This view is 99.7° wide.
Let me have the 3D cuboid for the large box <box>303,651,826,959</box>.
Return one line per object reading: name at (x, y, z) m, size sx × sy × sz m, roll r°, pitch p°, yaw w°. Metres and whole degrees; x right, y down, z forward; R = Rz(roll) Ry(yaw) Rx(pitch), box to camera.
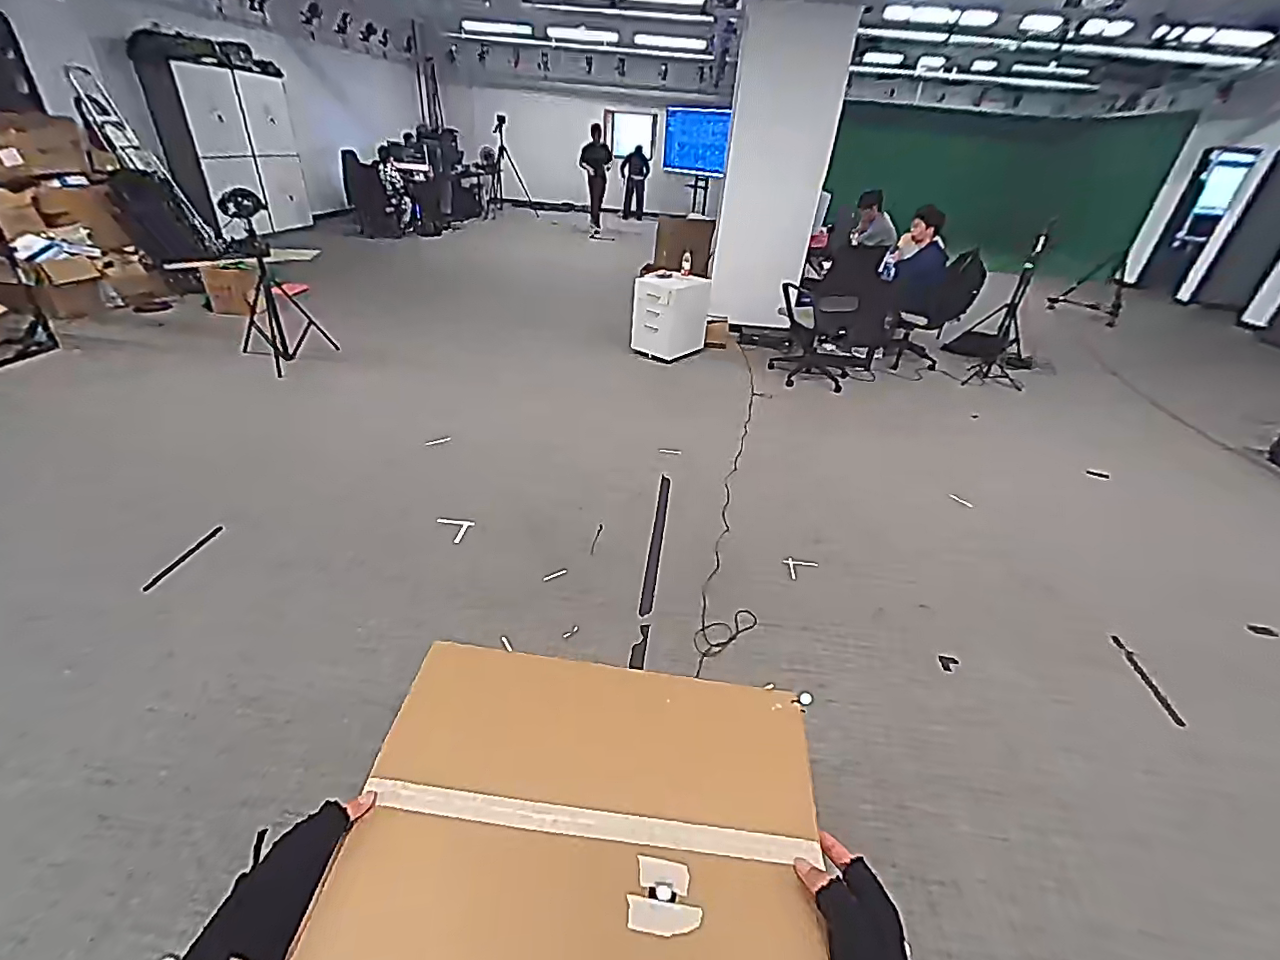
large box at (-0.058, 0.425, 0.576) m, size 0.408 × 0.320 × 0.320 m, roll 8°, pitch 39°, yaw 1°
